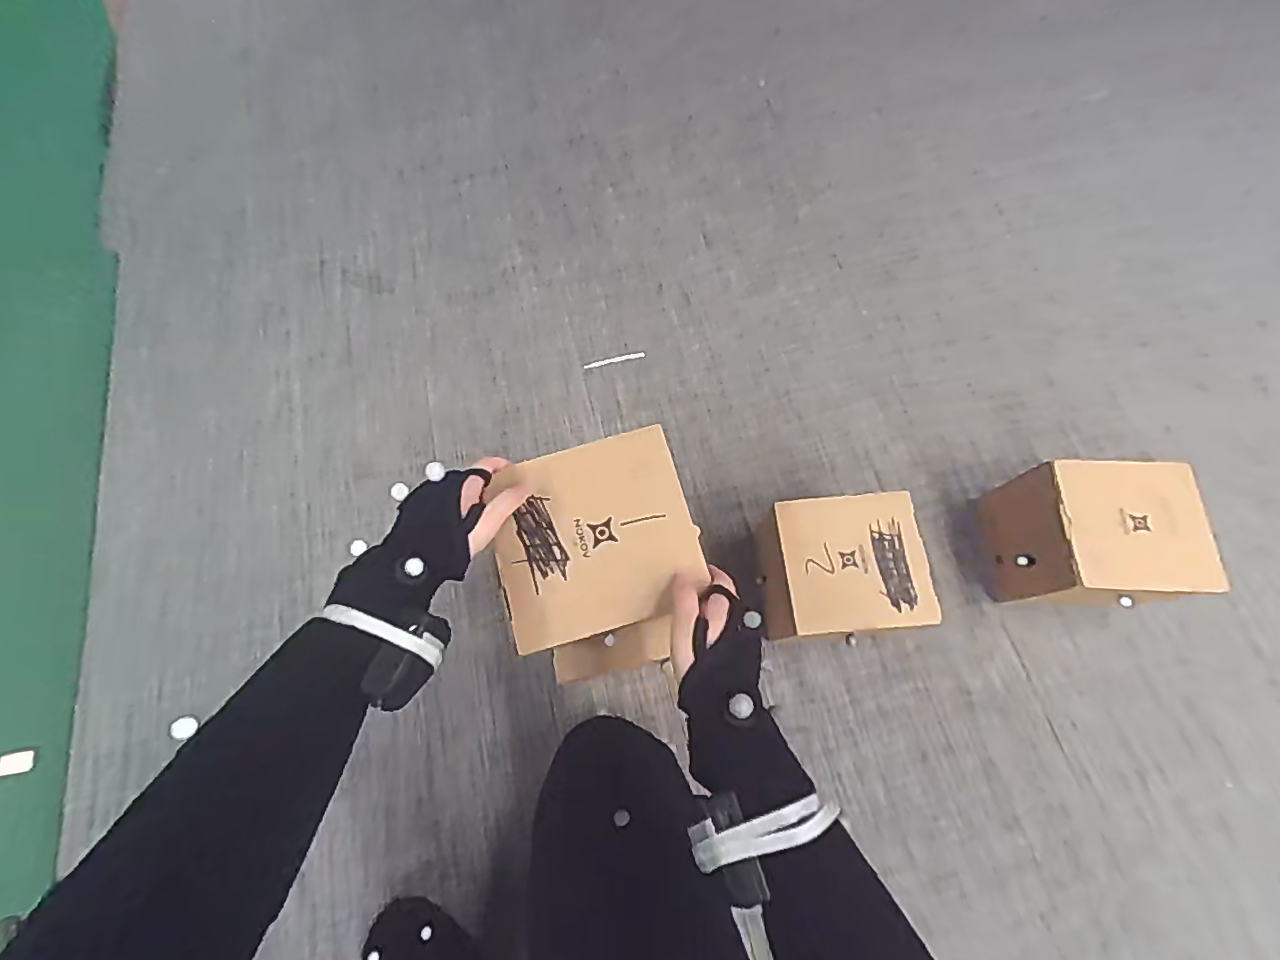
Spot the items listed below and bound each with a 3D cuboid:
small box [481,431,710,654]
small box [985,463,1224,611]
[{"bbox_3d":[-0.040,0.073,0.551,0.179,0.176,0.168,-15,75,-3],"label":"small box"},{"bbox_3d":[0.605,0.085,0.739,0.179,0.176,0.168,2,71,2],"label":"small box"}]
